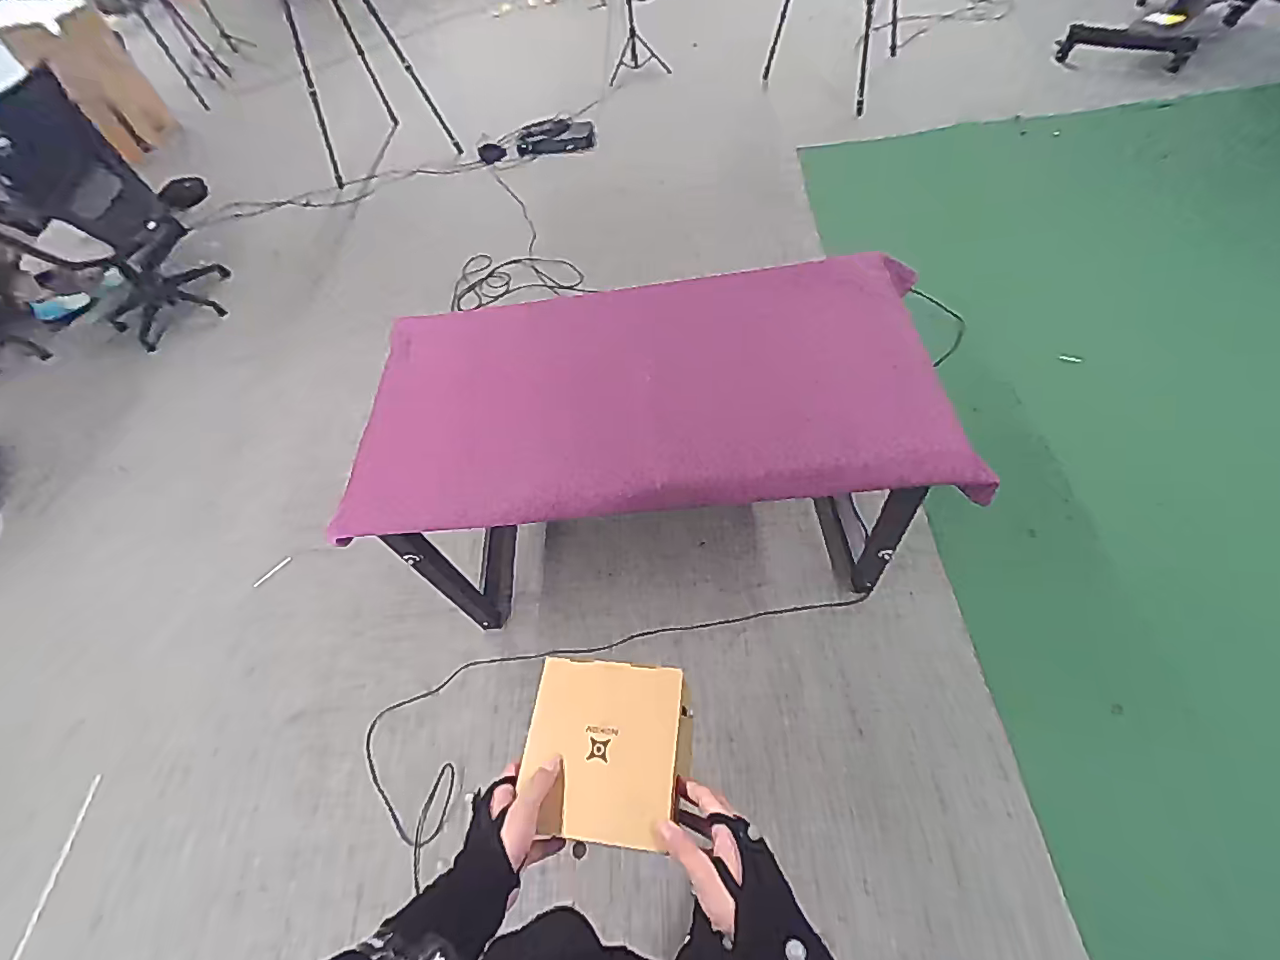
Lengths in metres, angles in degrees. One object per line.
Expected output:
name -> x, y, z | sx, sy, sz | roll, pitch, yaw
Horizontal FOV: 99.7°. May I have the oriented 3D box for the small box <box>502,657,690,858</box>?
small box -> -0.034, 0.325, 0.632 | 0.168, 0.176, 0.179 | 0, 54, 12
